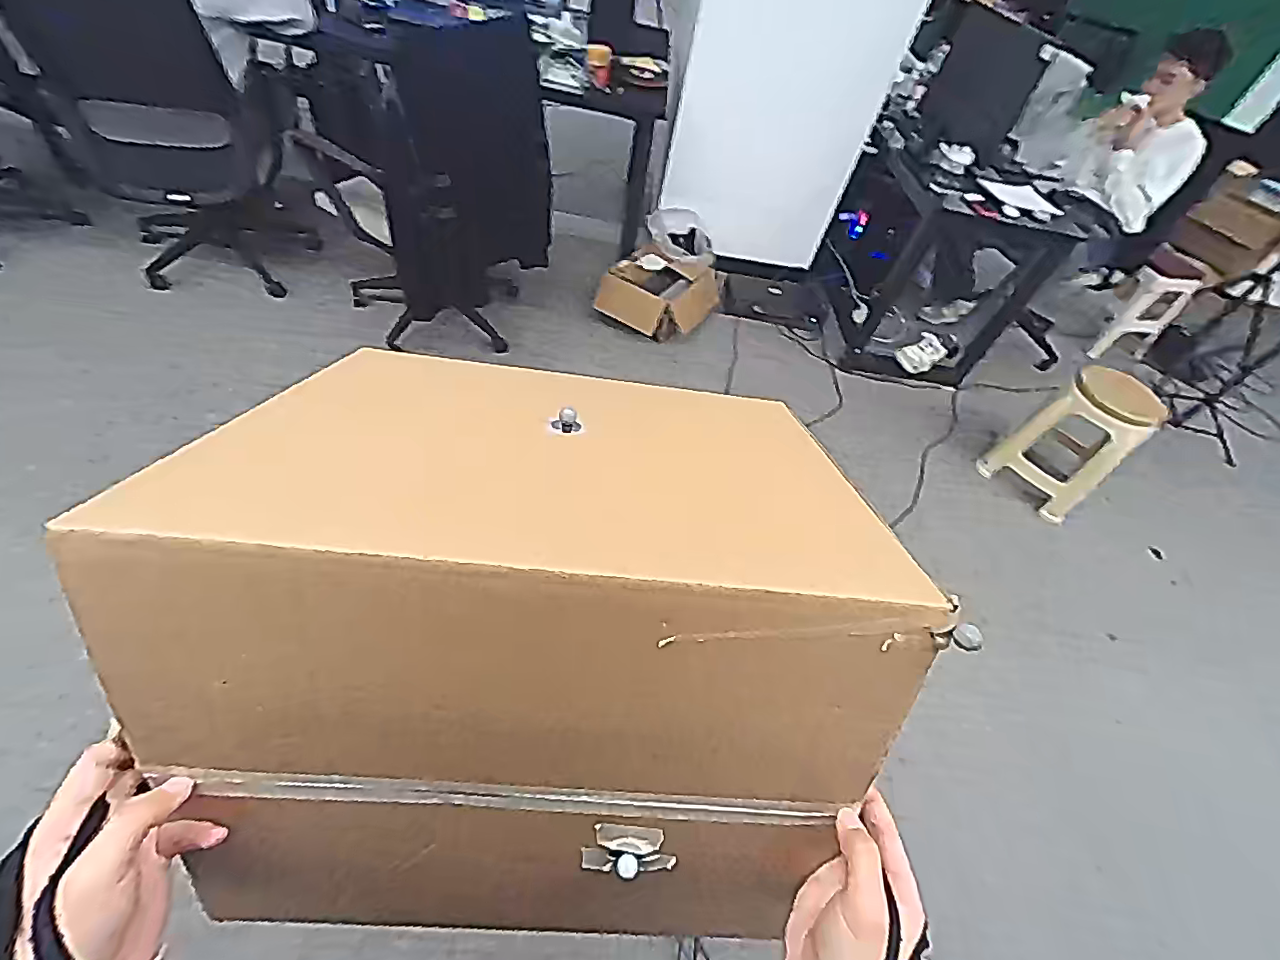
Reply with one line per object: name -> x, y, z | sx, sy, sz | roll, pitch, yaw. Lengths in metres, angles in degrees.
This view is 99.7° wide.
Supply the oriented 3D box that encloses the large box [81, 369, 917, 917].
large box -> -0.080, 0.110, 0.455 | 0.408, 0.320, 0.320 | 6, 27, -6
